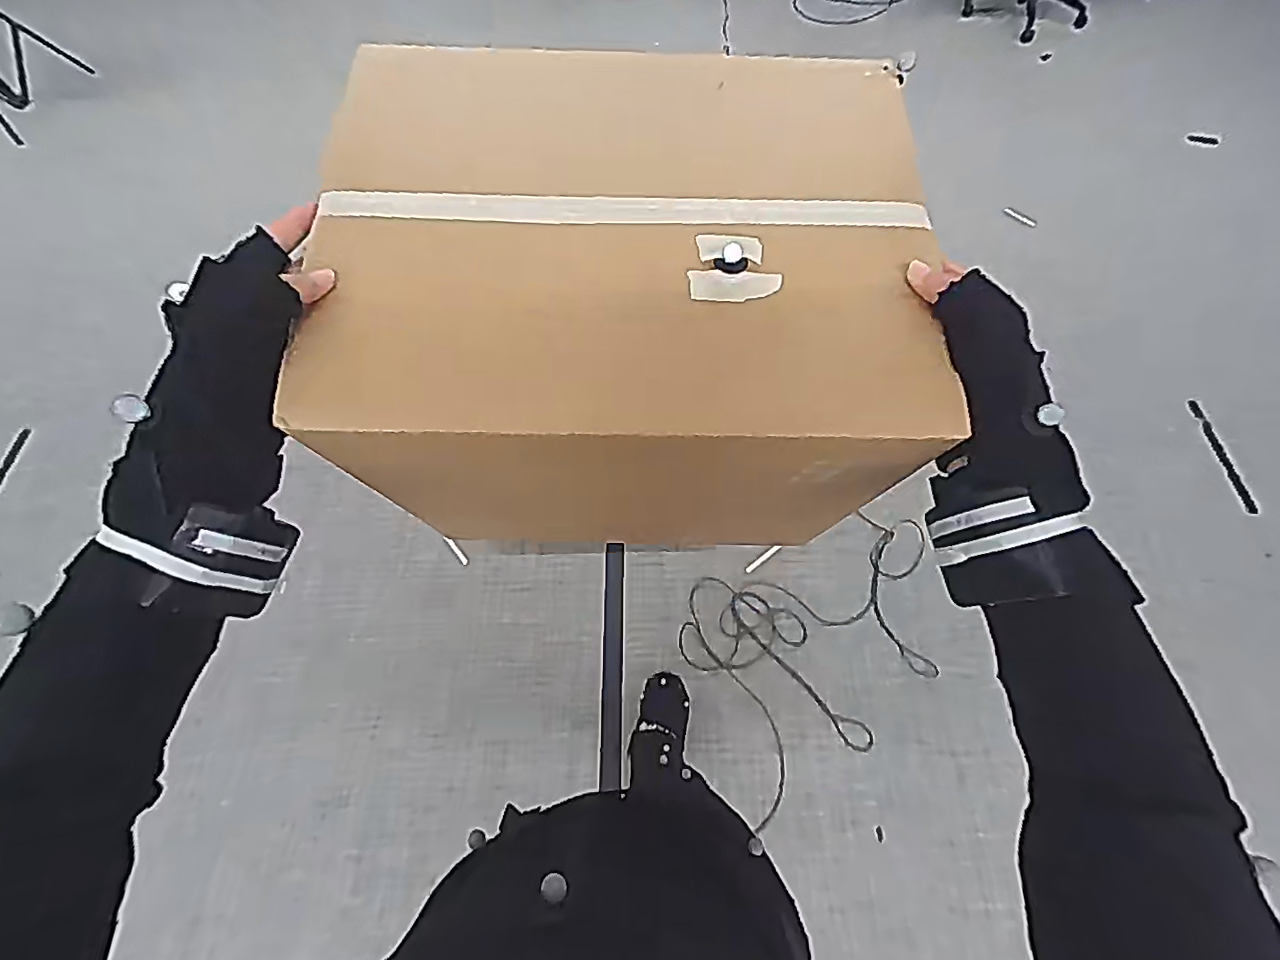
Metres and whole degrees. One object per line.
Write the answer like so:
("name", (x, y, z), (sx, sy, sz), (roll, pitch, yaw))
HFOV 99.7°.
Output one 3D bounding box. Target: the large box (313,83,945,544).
("large box", (-0.010, -0.123, 0.524), (0.408, 0.320, 0.320), (1, 71, -1))
